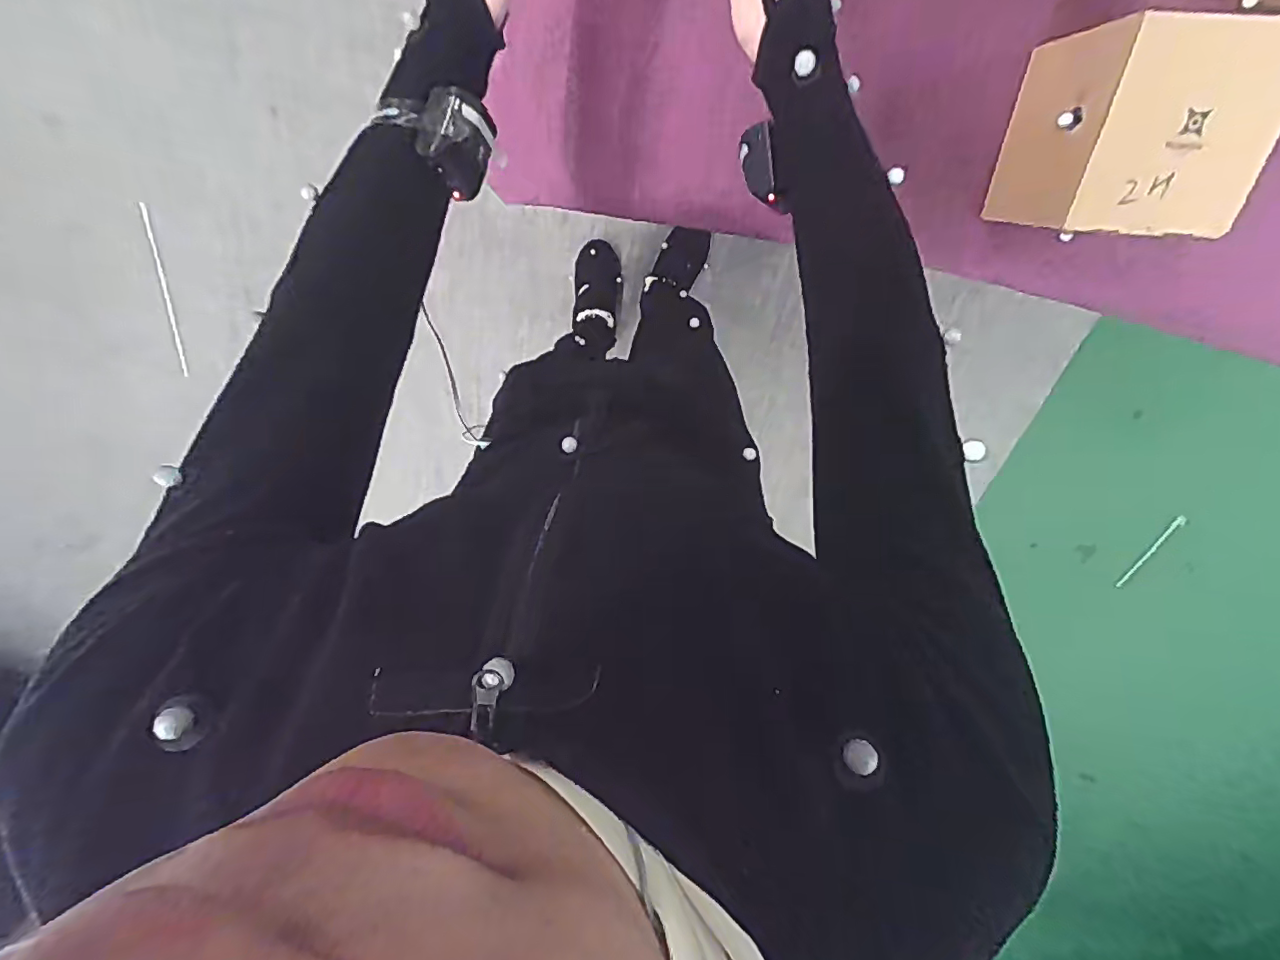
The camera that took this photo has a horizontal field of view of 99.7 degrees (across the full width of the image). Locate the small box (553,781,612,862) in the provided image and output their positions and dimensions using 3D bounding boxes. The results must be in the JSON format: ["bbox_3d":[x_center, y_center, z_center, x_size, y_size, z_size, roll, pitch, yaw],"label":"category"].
[{"bbox_3d":[-0.201,1.210,1.918,0.168,0.176,0.179,14,119,-5],"label":"small box"}]

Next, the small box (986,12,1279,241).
[{"bbox_3d":[0.513,-0.363,0.577,0.168,0.176,0.179,4,120,1],"label":"small box"}]
